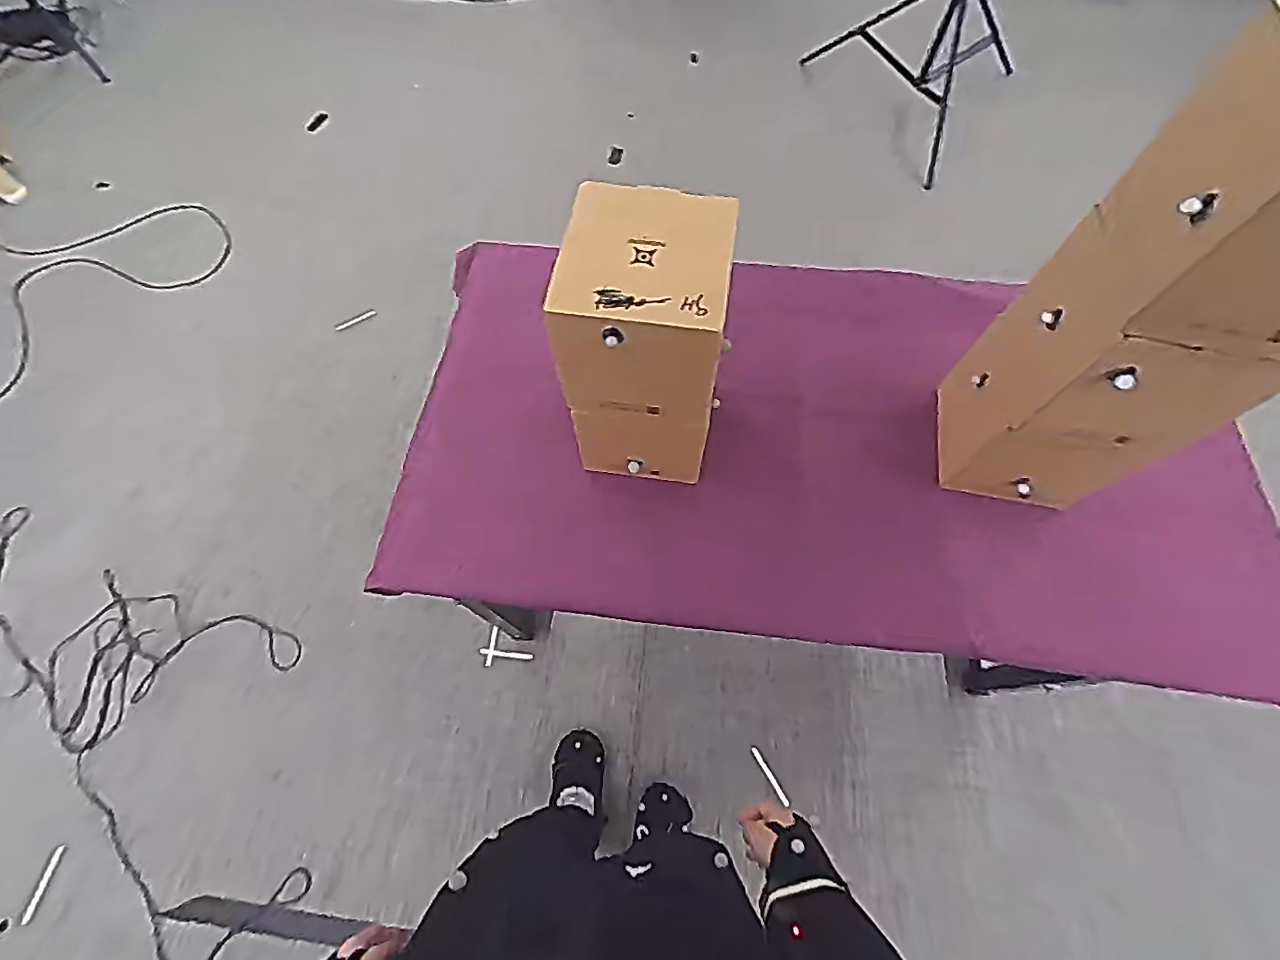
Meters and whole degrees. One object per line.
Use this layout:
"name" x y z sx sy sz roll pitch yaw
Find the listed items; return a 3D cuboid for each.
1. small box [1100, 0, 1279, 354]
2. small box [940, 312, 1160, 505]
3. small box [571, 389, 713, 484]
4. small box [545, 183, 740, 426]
"small box" 0.507 -0.219 0.416 0.168 0.176 0.179 13 65 6
"small box" 0.518 -0.088 0.715 0.168 0.176 0.179 10 66 7
"small box" 0.011 -0.115 0.736 0.168 0.176 0.179 7 67 4
"small box" 0.007 -0.183 0.587 0.168 0.176 0.179 8 65 5
